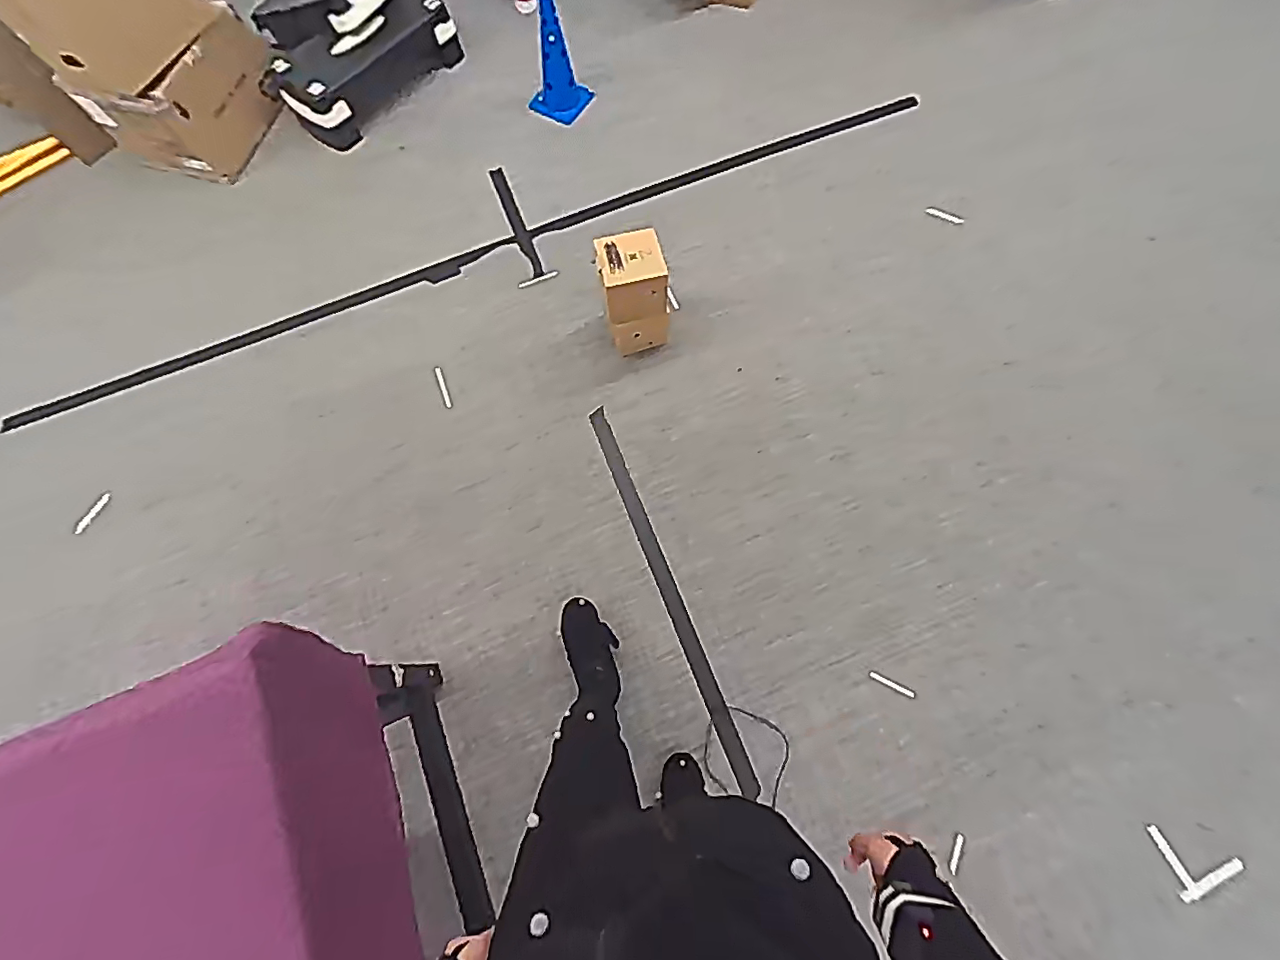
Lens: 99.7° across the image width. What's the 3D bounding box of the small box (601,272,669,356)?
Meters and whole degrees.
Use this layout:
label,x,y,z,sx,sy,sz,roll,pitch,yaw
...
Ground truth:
label,x,y,z,sx,sy,sz,roll,pitch,yaw
small box,-0.013,-0.511,1.695,0.168,0.176,0.179,-18,71,-5
